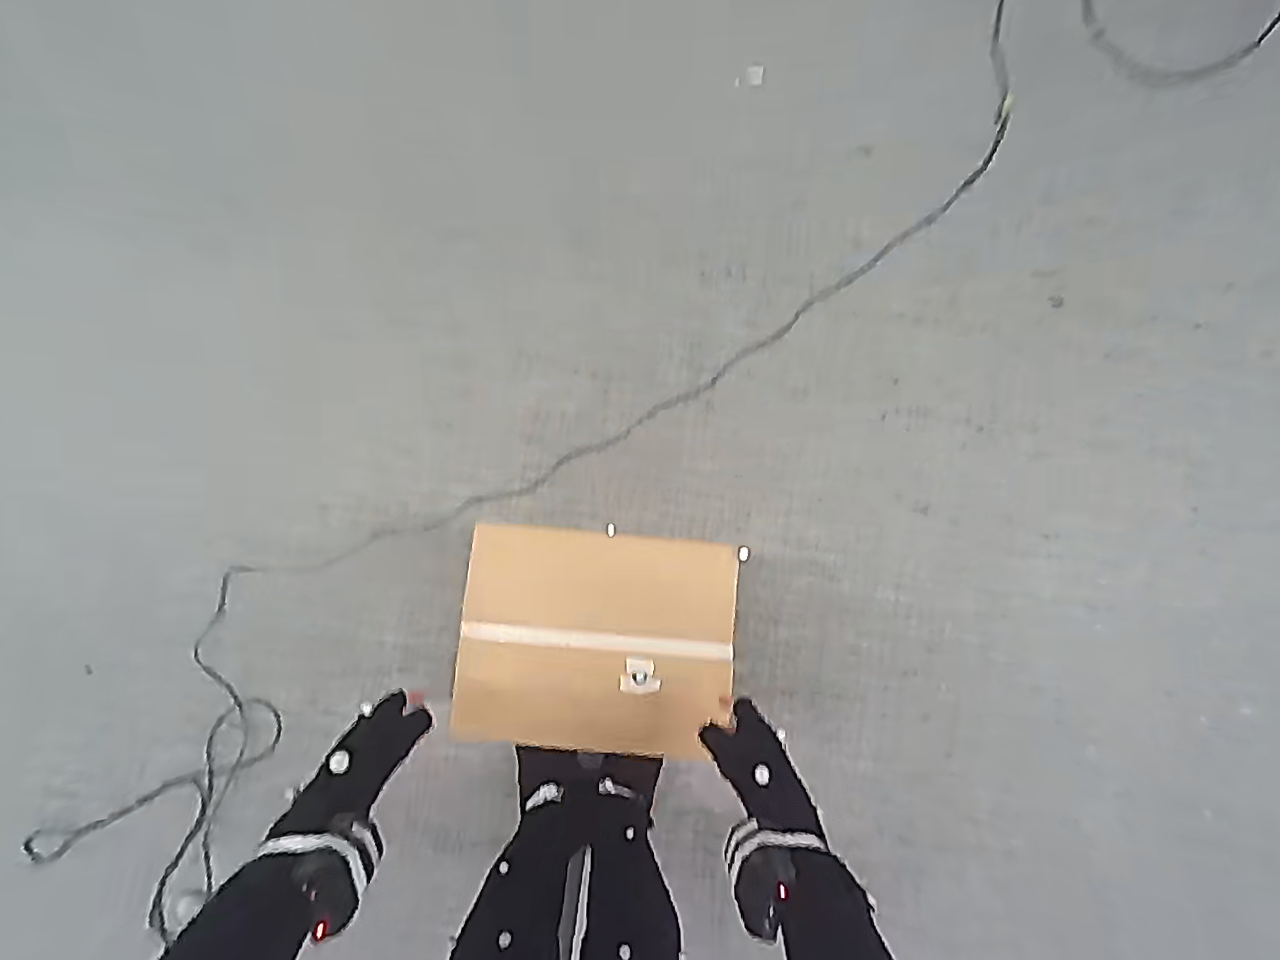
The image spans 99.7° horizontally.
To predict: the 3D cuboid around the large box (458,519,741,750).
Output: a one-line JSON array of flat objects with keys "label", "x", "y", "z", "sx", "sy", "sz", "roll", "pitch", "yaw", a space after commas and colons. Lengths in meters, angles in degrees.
[{"label": "large box", "x": -0.062, "y": 0.249, "z": 0.950, "sx": 0.408, "sy": 0.320, "sz": 0.320, "roll": 6, "pitch": 82, "yaw": -1}]
